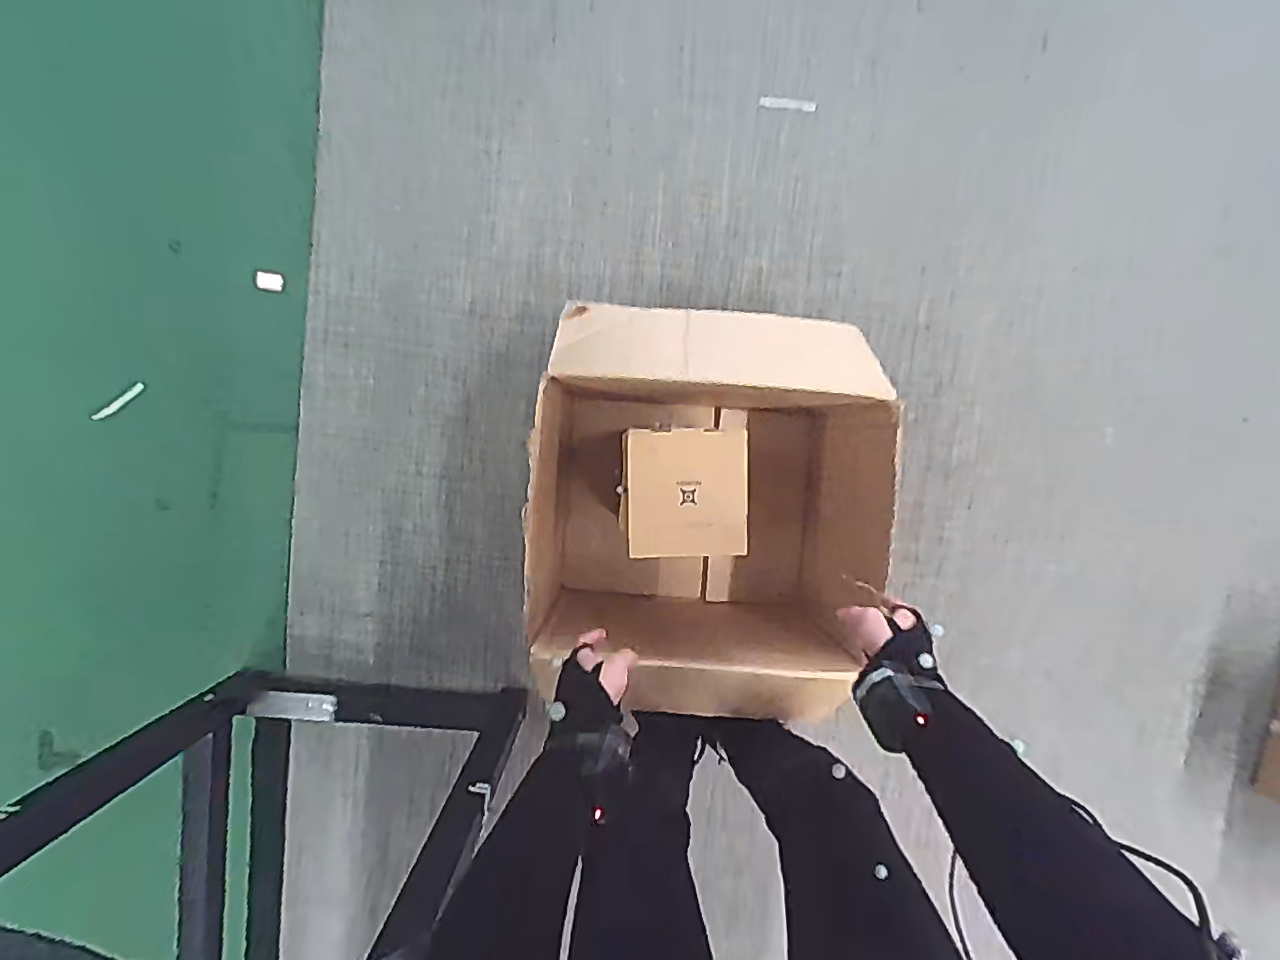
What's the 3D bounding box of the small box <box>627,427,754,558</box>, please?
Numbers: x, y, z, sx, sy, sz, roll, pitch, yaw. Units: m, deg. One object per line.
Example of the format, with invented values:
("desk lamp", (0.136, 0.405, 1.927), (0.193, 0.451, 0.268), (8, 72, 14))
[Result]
("small box", (0.067, 0.013, 0.807), (0.168, 0.176, 0.179), (-1, 95, -3))
